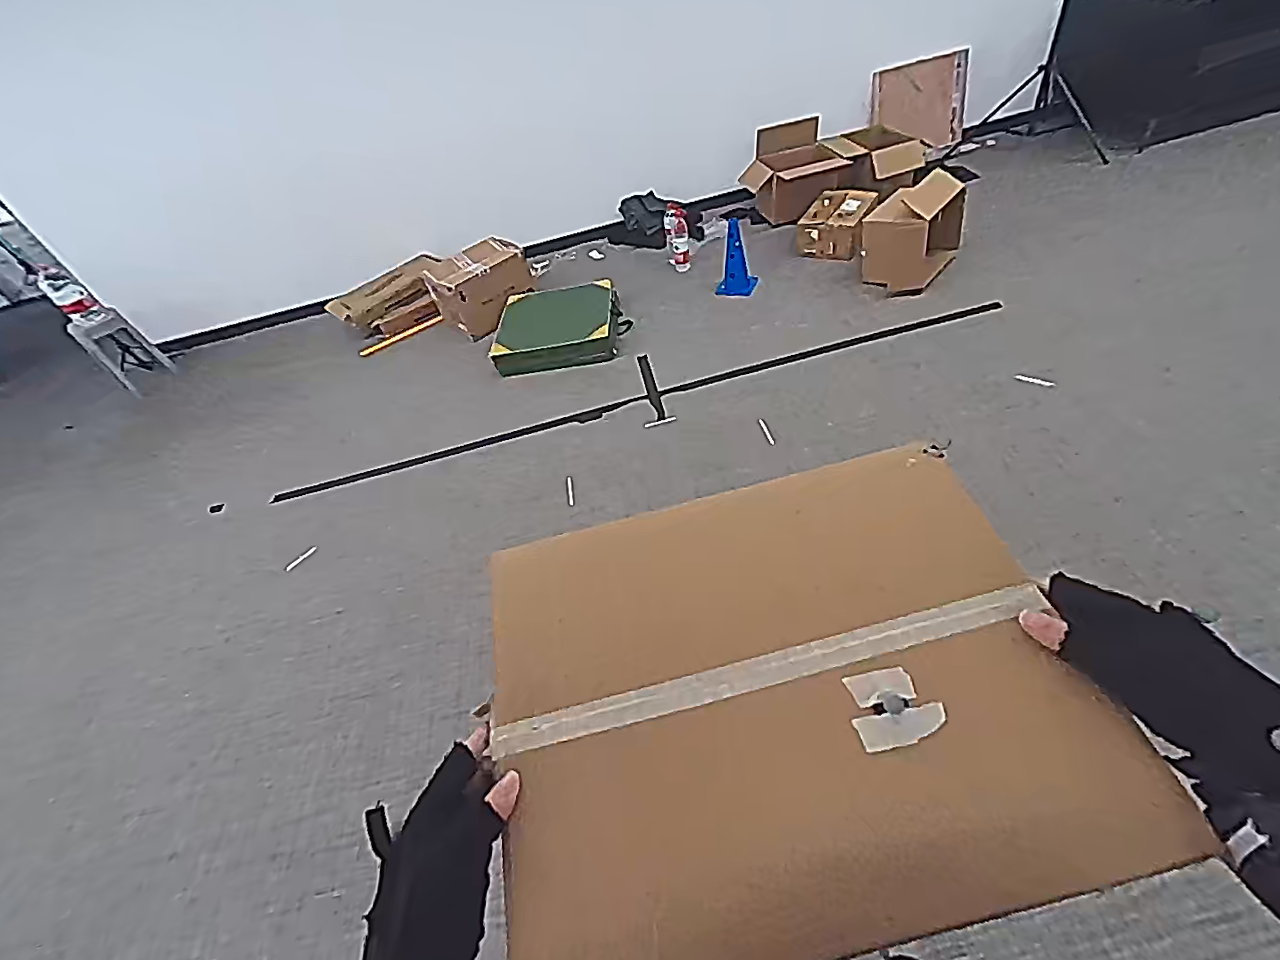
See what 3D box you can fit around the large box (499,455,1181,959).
[{"bbox_3d":[0.116,0.233,0.519,0.408,0.320,0.320,-15,53,-1],"label":"large box"}]
